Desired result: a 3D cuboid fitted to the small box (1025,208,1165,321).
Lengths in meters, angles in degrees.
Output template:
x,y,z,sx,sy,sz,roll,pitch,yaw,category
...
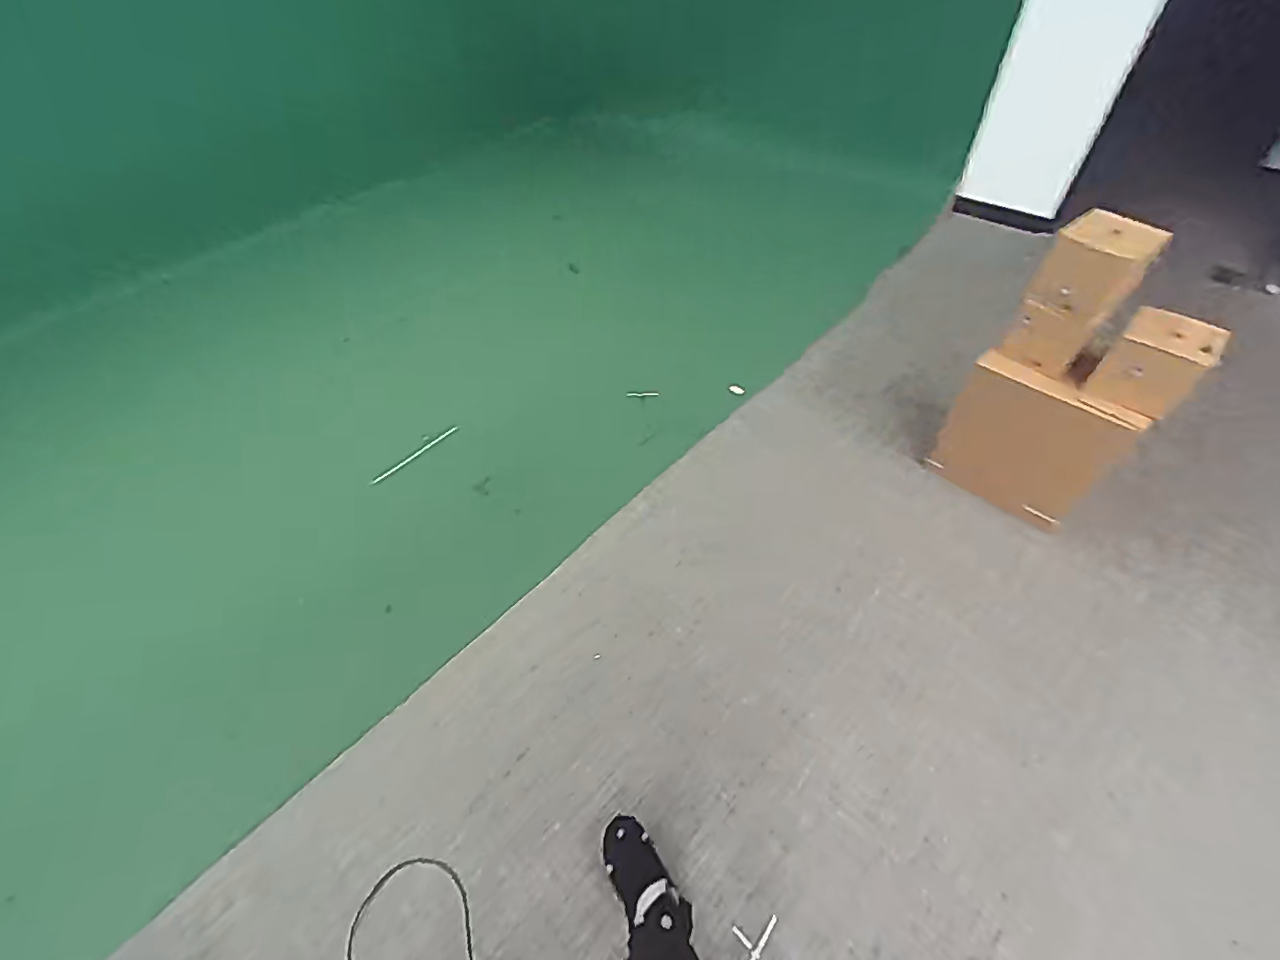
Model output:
x,y,z,sx,sy,sz,roll,pitch,yaw,category
1.082,-0.516,1.302,0.179,0.176,0.168,-33,56,-19,small box
